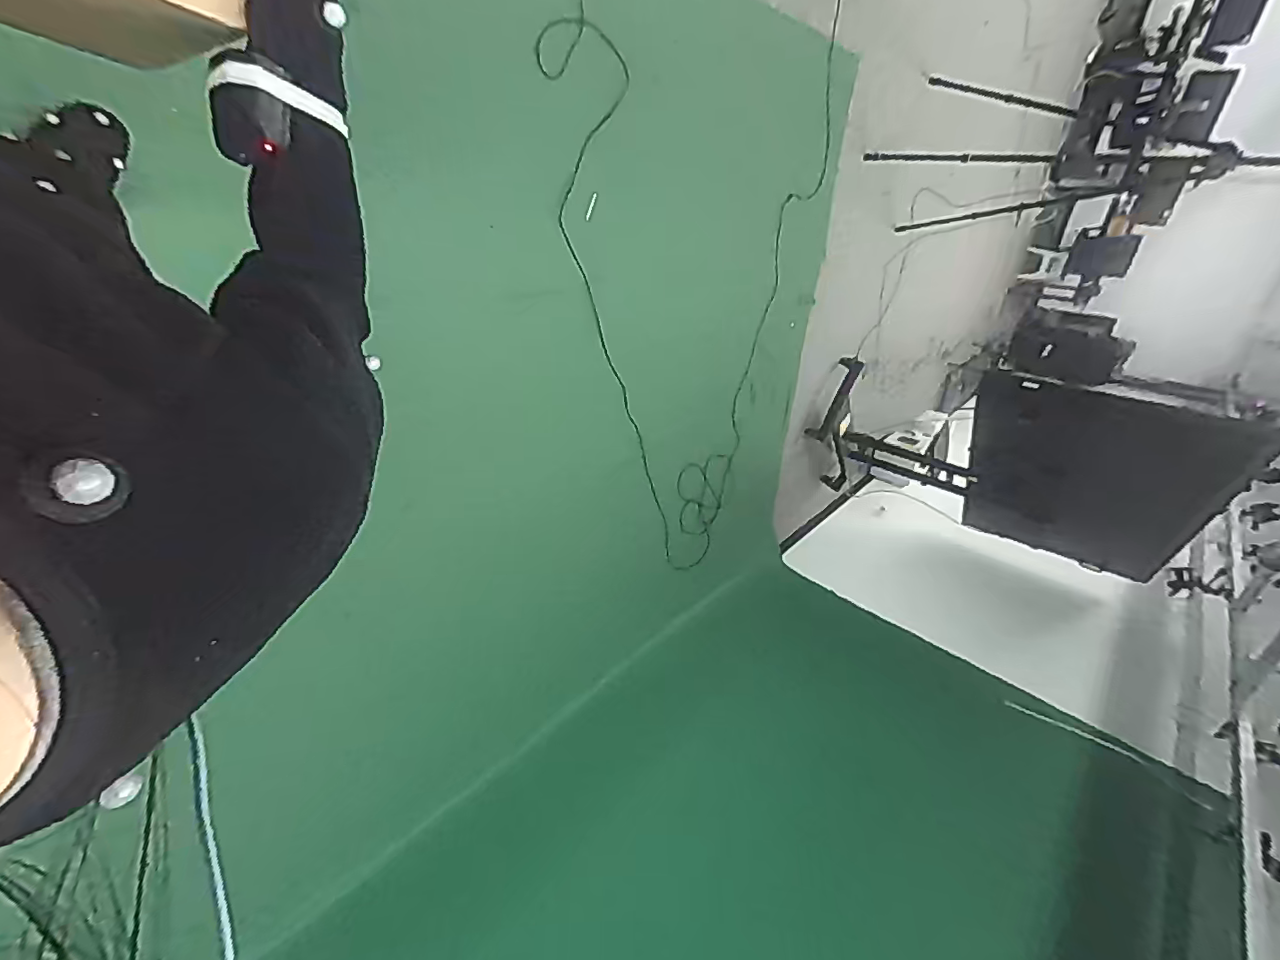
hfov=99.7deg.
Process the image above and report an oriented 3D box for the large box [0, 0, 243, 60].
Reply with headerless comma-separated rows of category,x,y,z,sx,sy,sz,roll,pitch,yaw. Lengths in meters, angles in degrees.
large box,-0.518,-0.505,0.303,0.408,0.320,0.320,-13,119,-48
